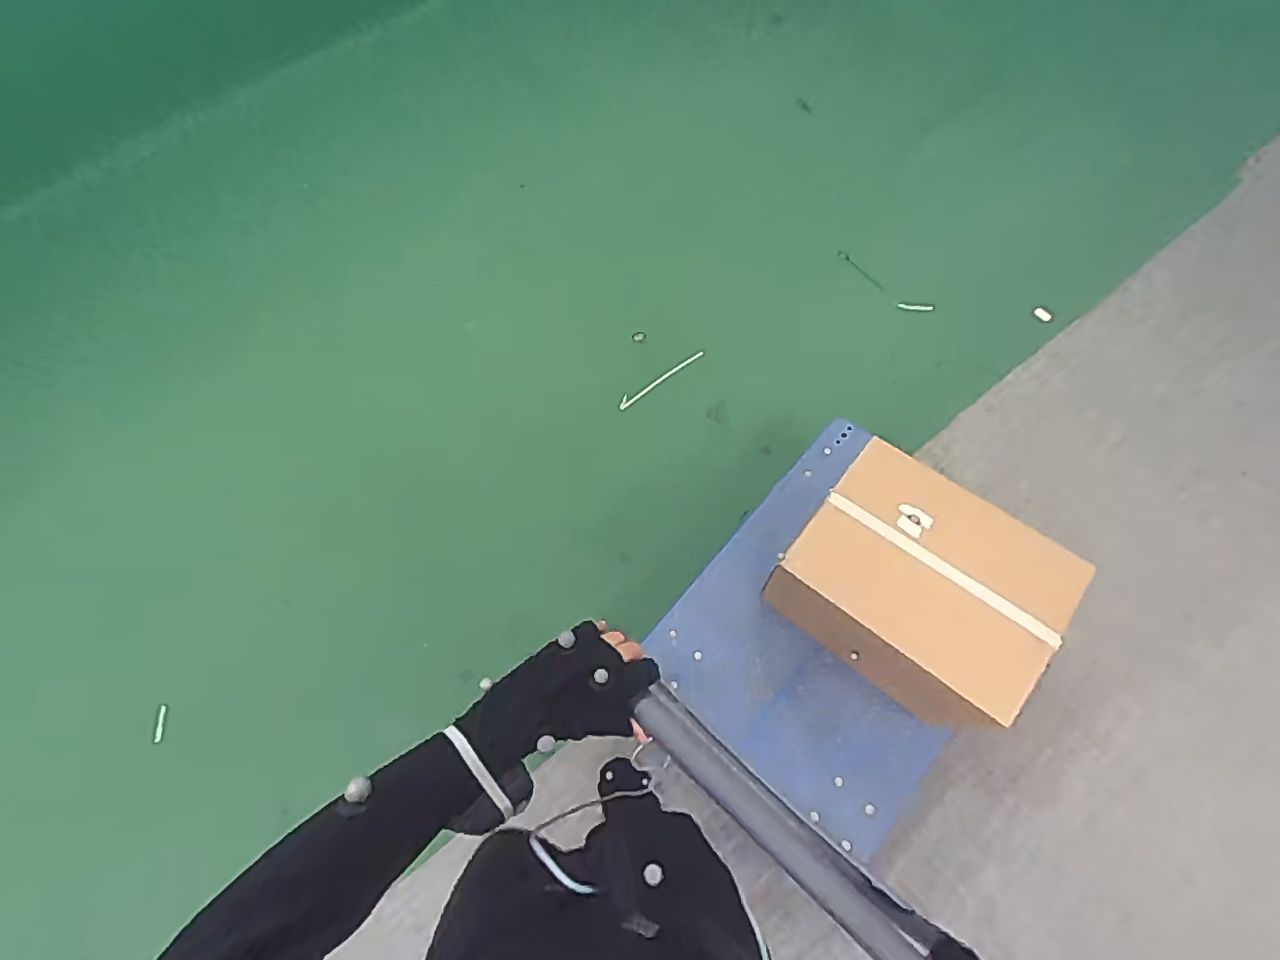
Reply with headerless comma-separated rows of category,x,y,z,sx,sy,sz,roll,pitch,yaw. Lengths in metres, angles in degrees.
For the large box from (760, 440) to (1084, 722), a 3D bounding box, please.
large box,0.491,0.202,1.036,0.408,0.320,0.320,36,75,20
